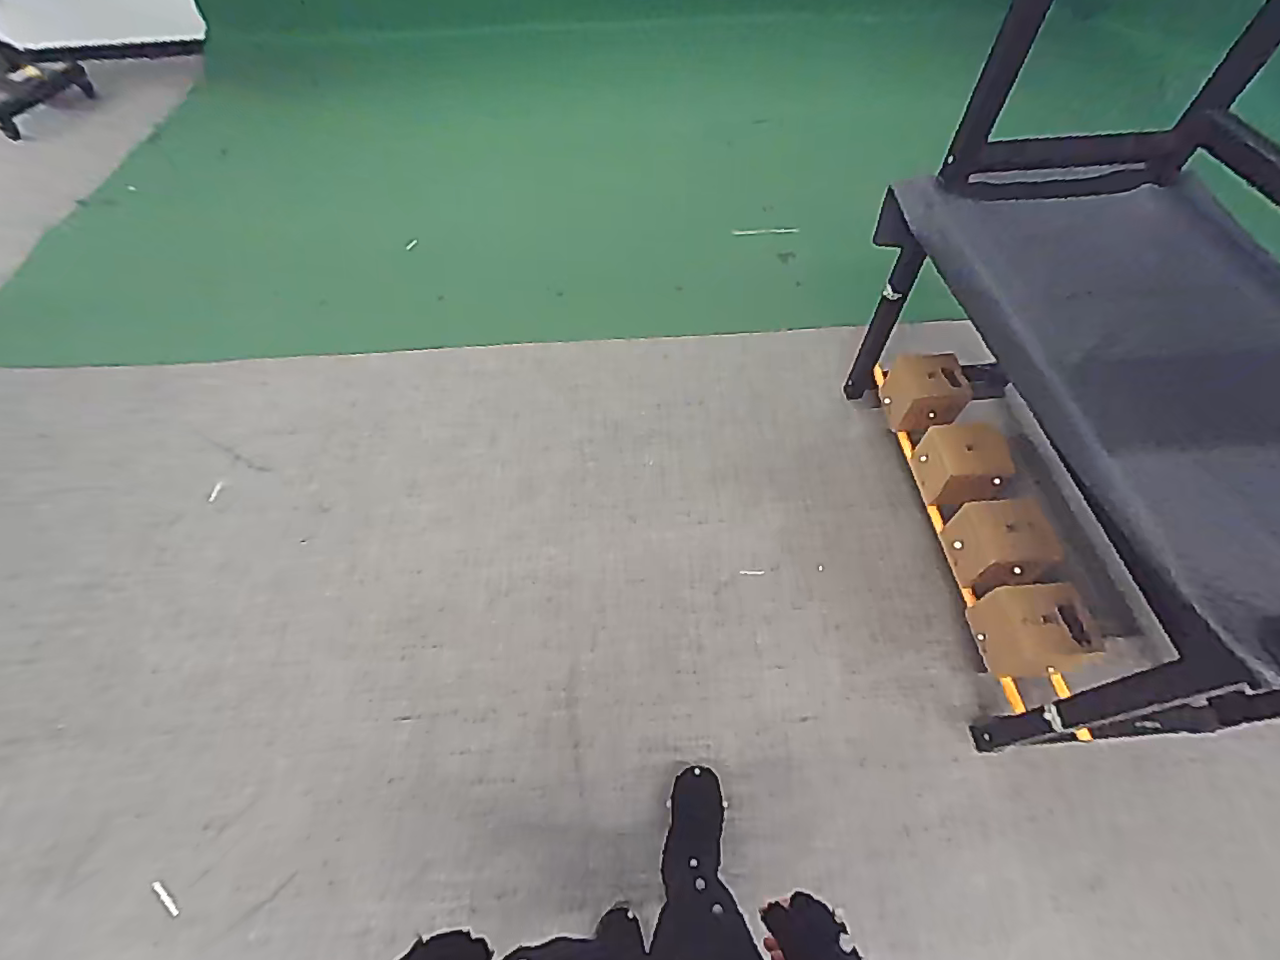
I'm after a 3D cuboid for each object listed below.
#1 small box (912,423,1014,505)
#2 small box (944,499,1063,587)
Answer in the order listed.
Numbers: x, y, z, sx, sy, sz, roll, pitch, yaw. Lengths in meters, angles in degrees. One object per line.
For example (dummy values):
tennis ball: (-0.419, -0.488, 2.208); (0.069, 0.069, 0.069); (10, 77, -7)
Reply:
small box: (0.889, -0.039, 1.516); (0.179, 0.176, 0.168); (-3, 57, 1)
small box: (0.909, 0.165, 1.380); (0.179, 0.176, 0.168); (-4, 58, 0)
